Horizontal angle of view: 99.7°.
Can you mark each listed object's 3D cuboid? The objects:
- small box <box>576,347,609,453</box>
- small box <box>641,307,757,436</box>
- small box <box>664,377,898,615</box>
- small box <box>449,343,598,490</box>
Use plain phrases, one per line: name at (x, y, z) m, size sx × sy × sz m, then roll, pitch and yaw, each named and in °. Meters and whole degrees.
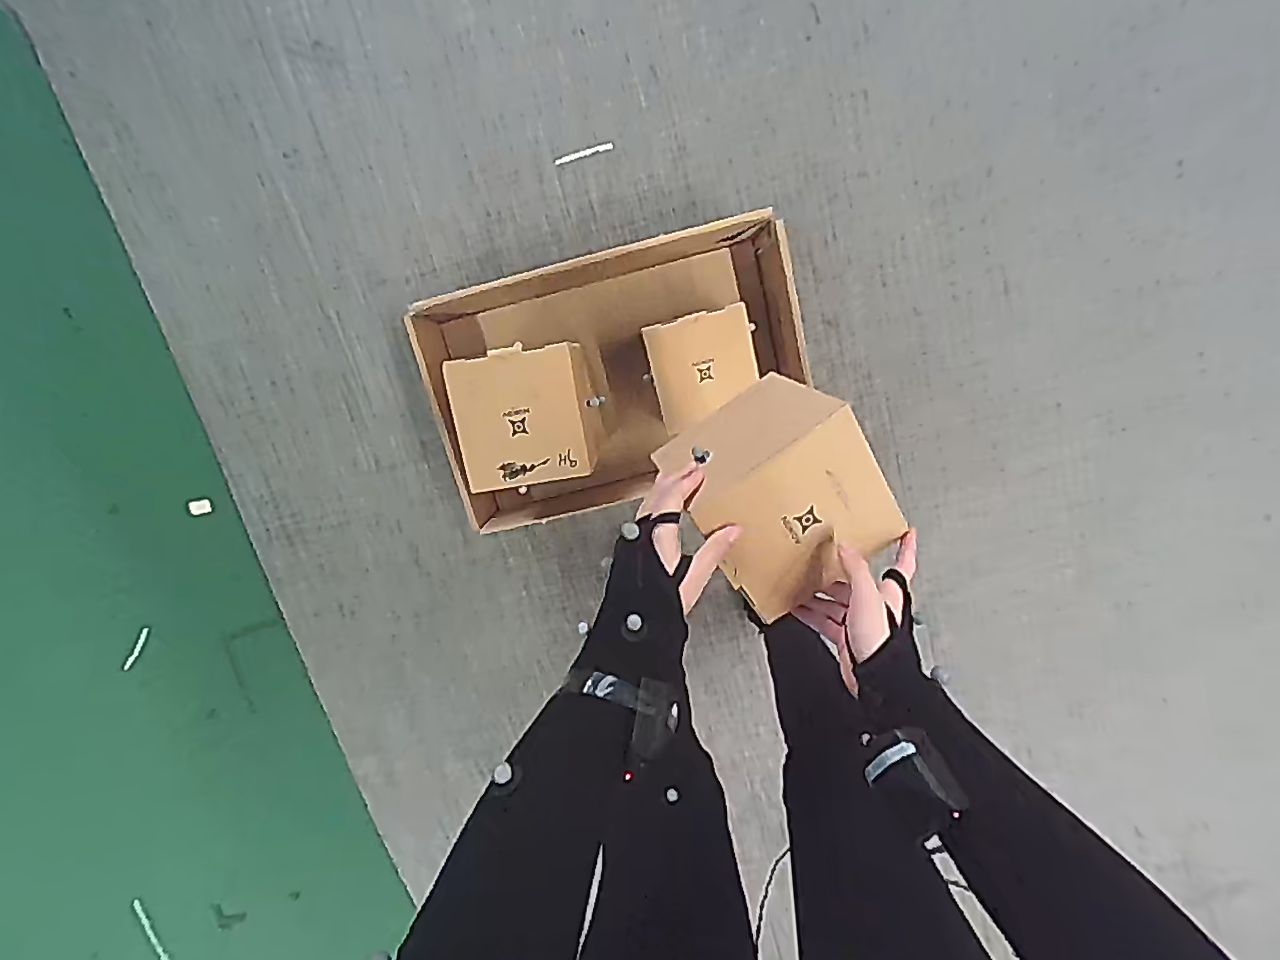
small box at (-0.153, -0.128, 0.948) m, size 0.168 × 0.176 × 0.179 m, roll -15°, pitch 102°, yaw 1°
small box at (0.102, -0.189, 0.941) m, size 0.168 × 0.176 × 0.179 m, roll -14°, pitch 102°, yaw 3°
small box at (0.141, 0.008, 0.605) m, size 0.179 × 0.176 × 0.168 m, roll -34°, pitch 115°, yaw 1°
small box at (-0.157, -0.095, 0.788) m, size 0.168 × 0.176 × 0.179 m, roll -9°, pitch 101°, yaw 0°
